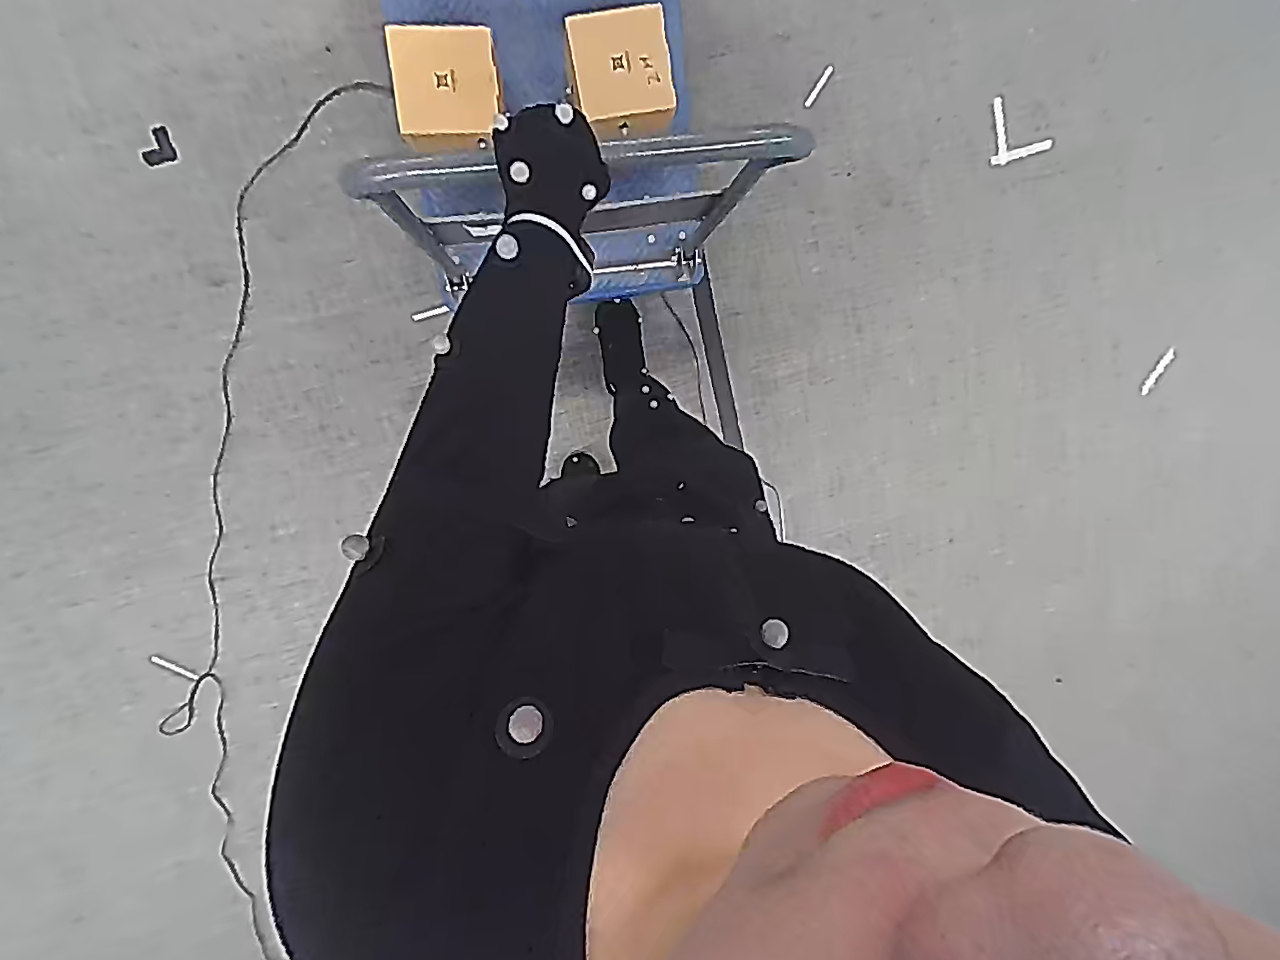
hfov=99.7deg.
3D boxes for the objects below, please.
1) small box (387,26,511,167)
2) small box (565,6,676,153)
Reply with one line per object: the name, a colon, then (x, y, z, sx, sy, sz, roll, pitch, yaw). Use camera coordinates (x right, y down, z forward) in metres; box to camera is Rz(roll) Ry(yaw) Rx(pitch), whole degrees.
small box: (-0.344, -0.701, 1.006, 0.179, 0.176, 0.168, -6, 103, -8)
small box: (-0.041, -0.752, 1.035, 0.179, 0.176, 0.168, -12, 104, -5)
